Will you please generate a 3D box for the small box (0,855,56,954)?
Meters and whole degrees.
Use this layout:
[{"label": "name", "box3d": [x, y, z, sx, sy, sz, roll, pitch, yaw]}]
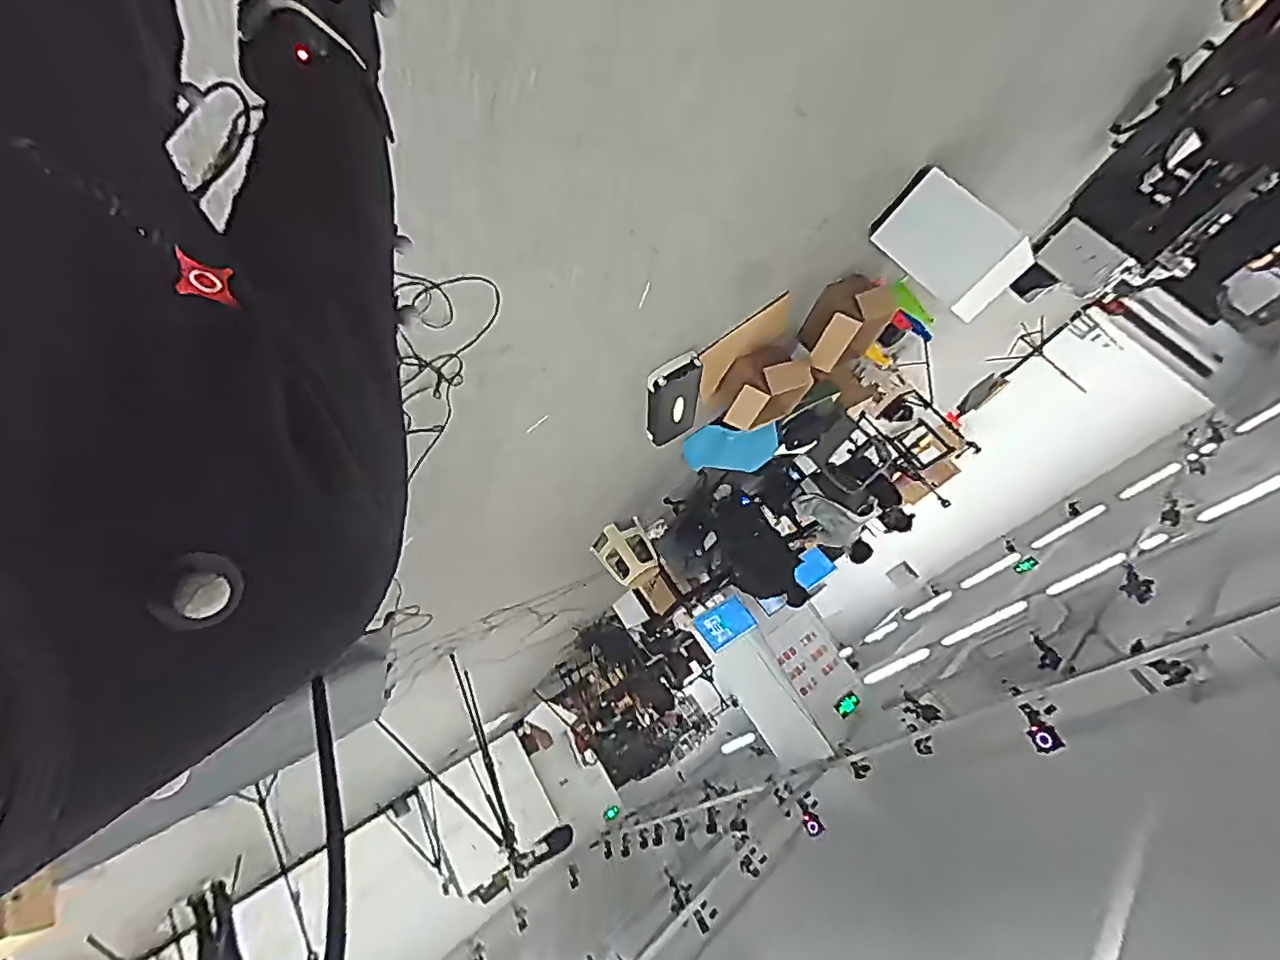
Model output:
[{"label": "small box", "box3d": [-1.494, 0.986, 1.221, 0.168, 0.176, 0.179, -24, 158, -27]}]
